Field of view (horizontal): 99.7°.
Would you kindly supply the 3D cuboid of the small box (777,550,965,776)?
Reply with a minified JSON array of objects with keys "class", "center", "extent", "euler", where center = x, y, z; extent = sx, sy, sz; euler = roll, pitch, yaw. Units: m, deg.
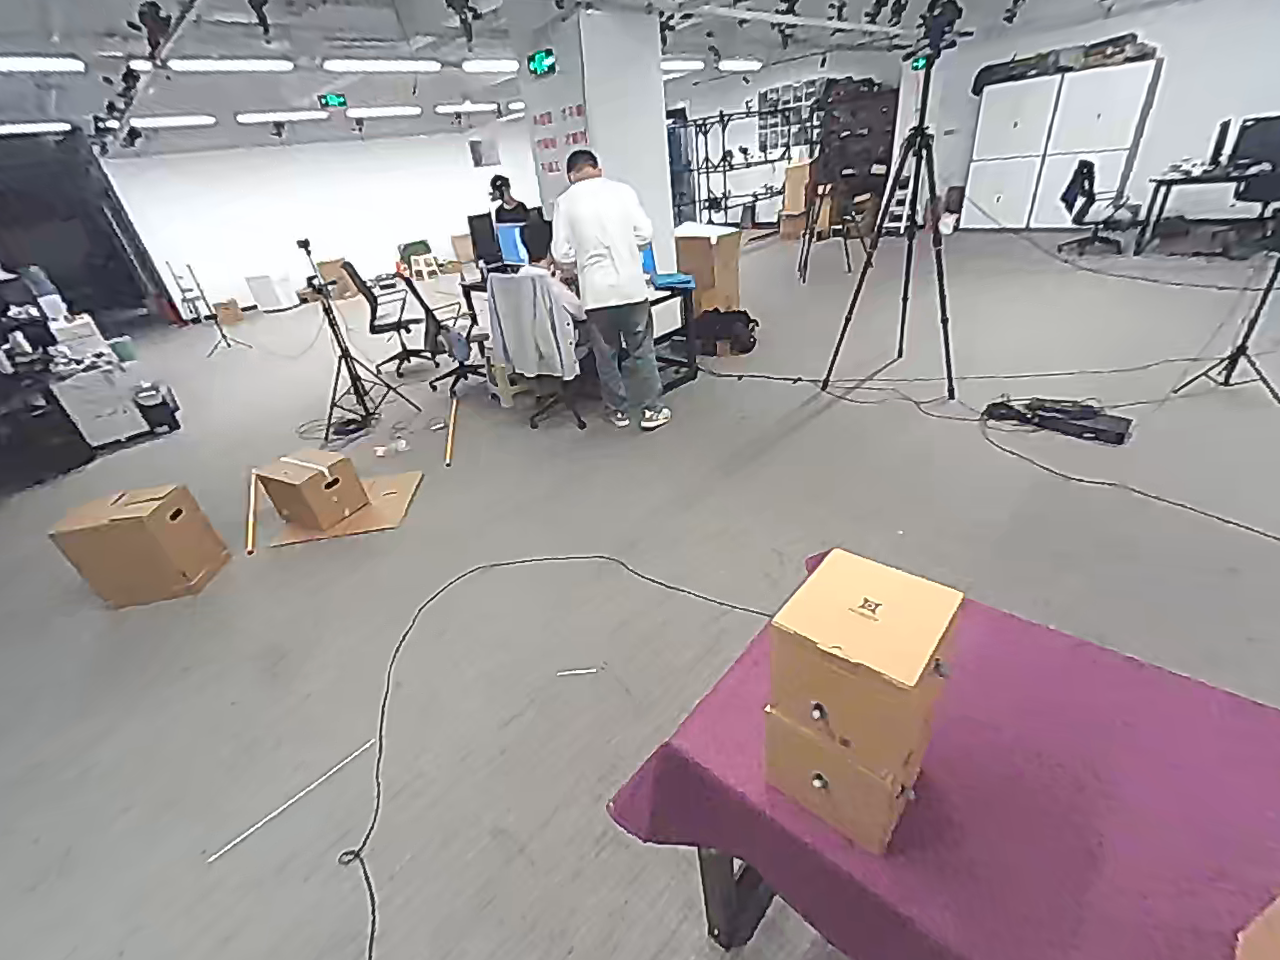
[{"class":"small box","center":[0.287,0.226,0.694],"extent":[0.168,0.176,0.179],"euler":[20,40,38]}]
